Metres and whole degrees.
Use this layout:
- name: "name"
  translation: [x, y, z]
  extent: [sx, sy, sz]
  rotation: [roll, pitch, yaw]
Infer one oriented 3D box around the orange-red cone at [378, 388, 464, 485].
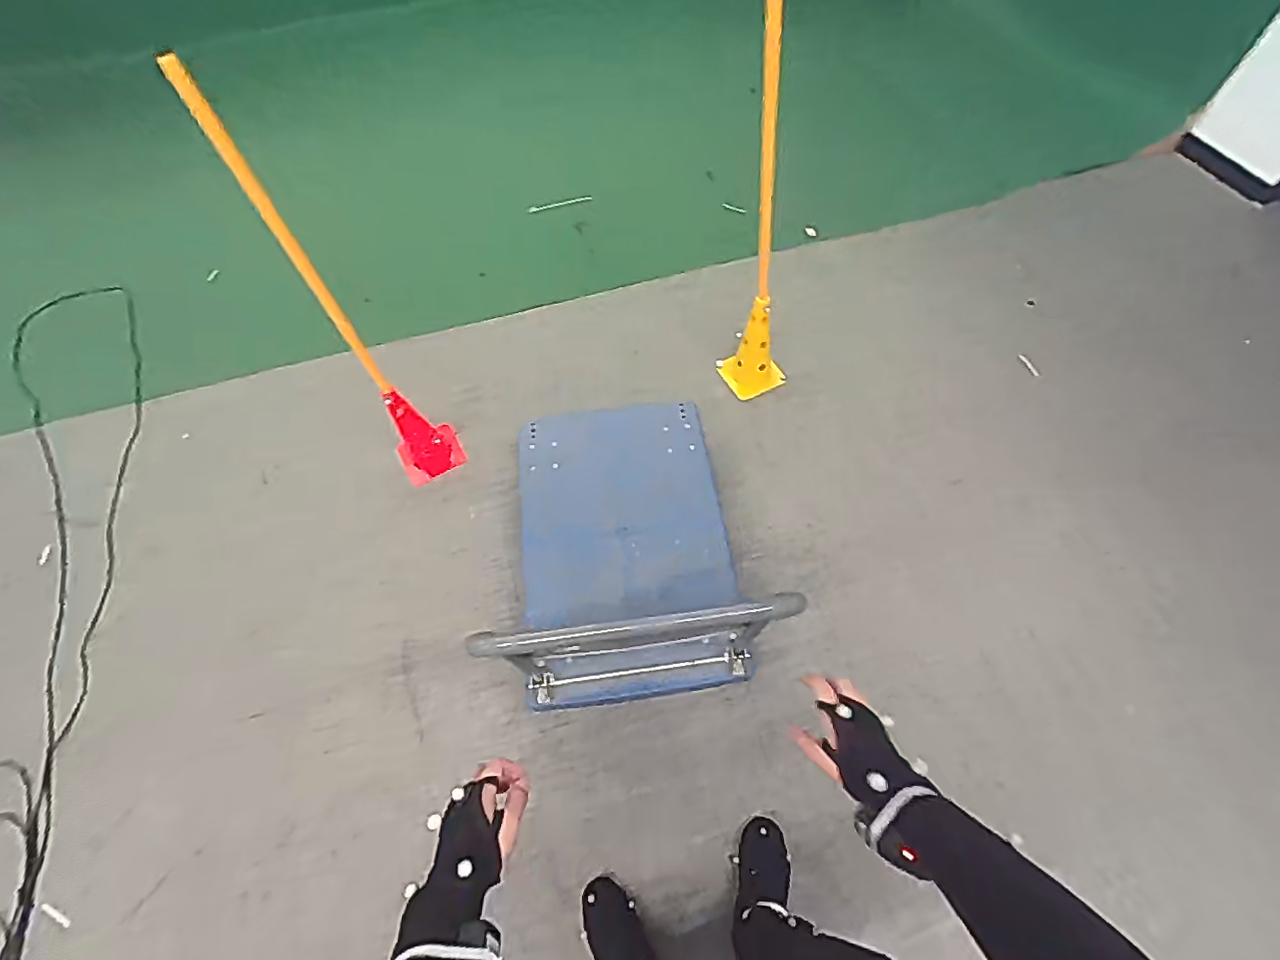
- name: "orange-red cone"
  translation: [-0.748, -0.172, 1.751]
  extent: [0.199, 0.360, 0.198]
  rotation: [-29, 62, -11]
